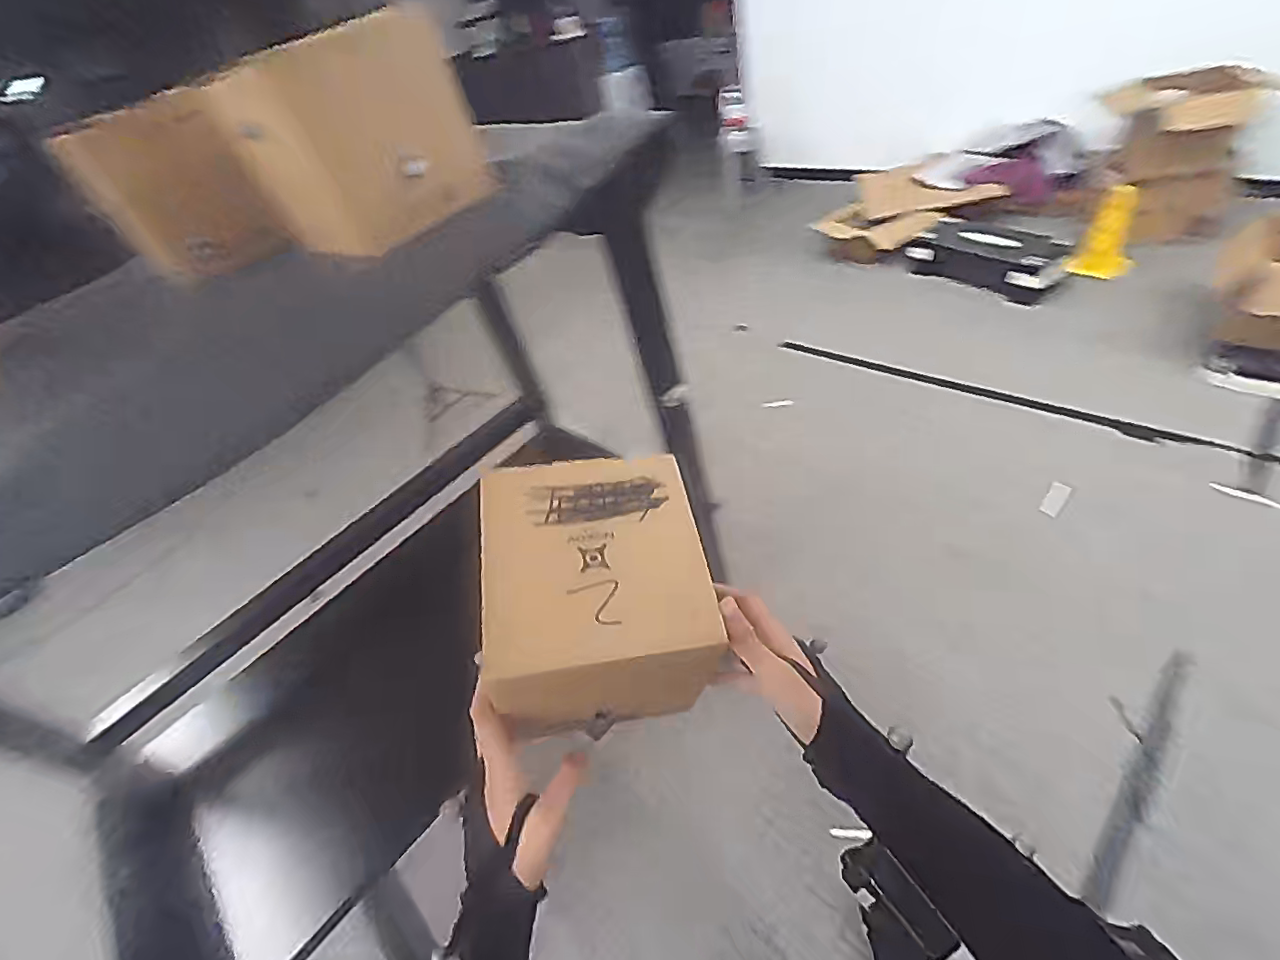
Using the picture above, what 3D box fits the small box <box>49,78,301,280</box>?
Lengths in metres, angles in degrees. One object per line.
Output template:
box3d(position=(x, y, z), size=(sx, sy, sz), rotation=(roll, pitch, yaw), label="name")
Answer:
box3d(position=(-0.569, -0.373, 0.681), size=(0.179, 0.176, 0.168), rotation=(24, 58, 36), label="small box")

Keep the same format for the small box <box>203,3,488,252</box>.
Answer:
box3d(position=(-0.299, -0.360, 0.573), size=(0.179, 0.176, 0.168), rotation=(21, 57, 36), label="small box")
